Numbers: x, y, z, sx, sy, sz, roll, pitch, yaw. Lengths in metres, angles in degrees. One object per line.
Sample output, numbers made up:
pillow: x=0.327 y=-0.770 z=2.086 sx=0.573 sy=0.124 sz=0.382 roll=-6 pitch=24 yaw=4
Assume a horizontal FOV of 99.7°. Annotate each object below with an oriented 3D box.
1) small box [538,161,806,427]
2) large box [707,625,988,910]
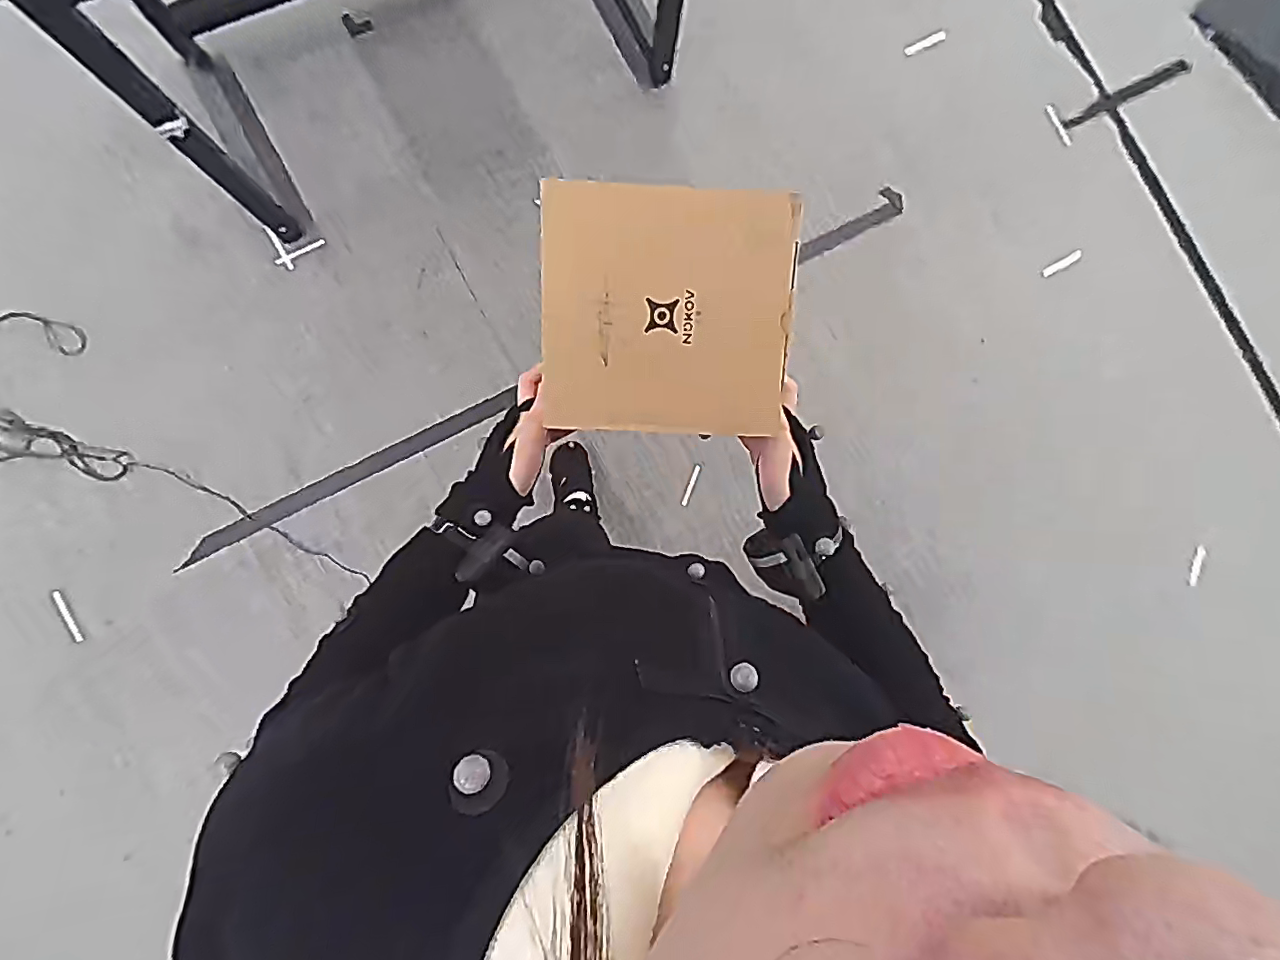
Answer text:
small box: x=0.015 y=-0.141 z=0.442 sx=0.179 sy=0.176 sz=0.168 roll=2 pitch=104 yaw=-2
large box: x=0.415 y=0.574 z=1.168 sx=0.408 sy=0.320 sz=0.320 roll=-31 pitch=90 yaw=-8
